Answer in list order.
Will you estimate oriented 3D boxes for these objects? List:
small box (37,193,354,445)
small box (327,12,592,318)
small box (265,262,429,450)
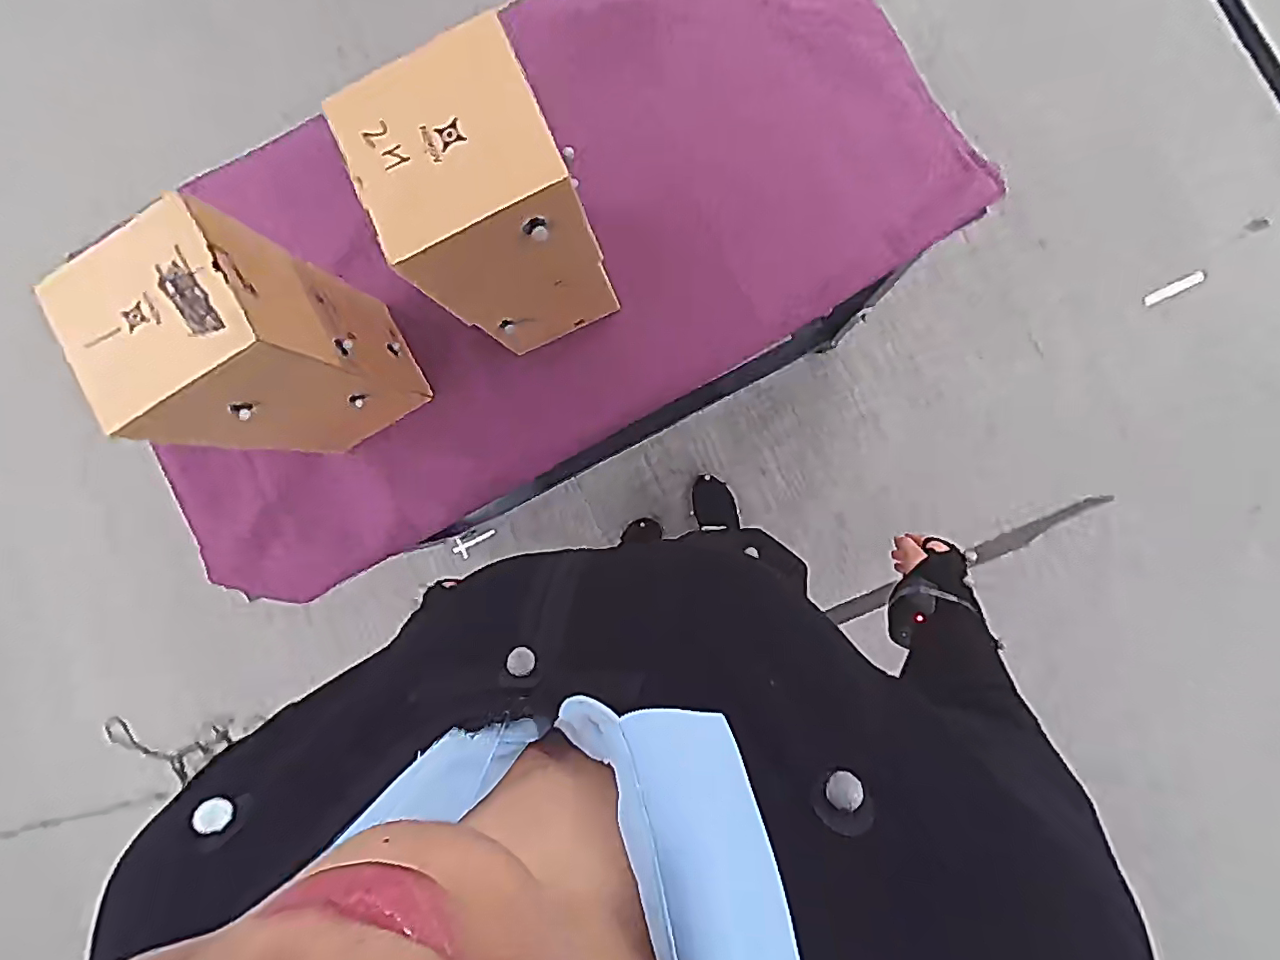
[{"bbox_3d":[-0.441,-0.150,0.573,0.179,0.176,0.168,-30,86,5],"label":"small box"},{"bbox_3d":[-0.159,-0.291,0.544,0.179,0.176,0.168,-24,86,5],"label":"small box"},{"bbox_3d":[-0.429,-0.152,0.737,0.179,0.176,0.168,-30,87,4],"label":"small box"}]
